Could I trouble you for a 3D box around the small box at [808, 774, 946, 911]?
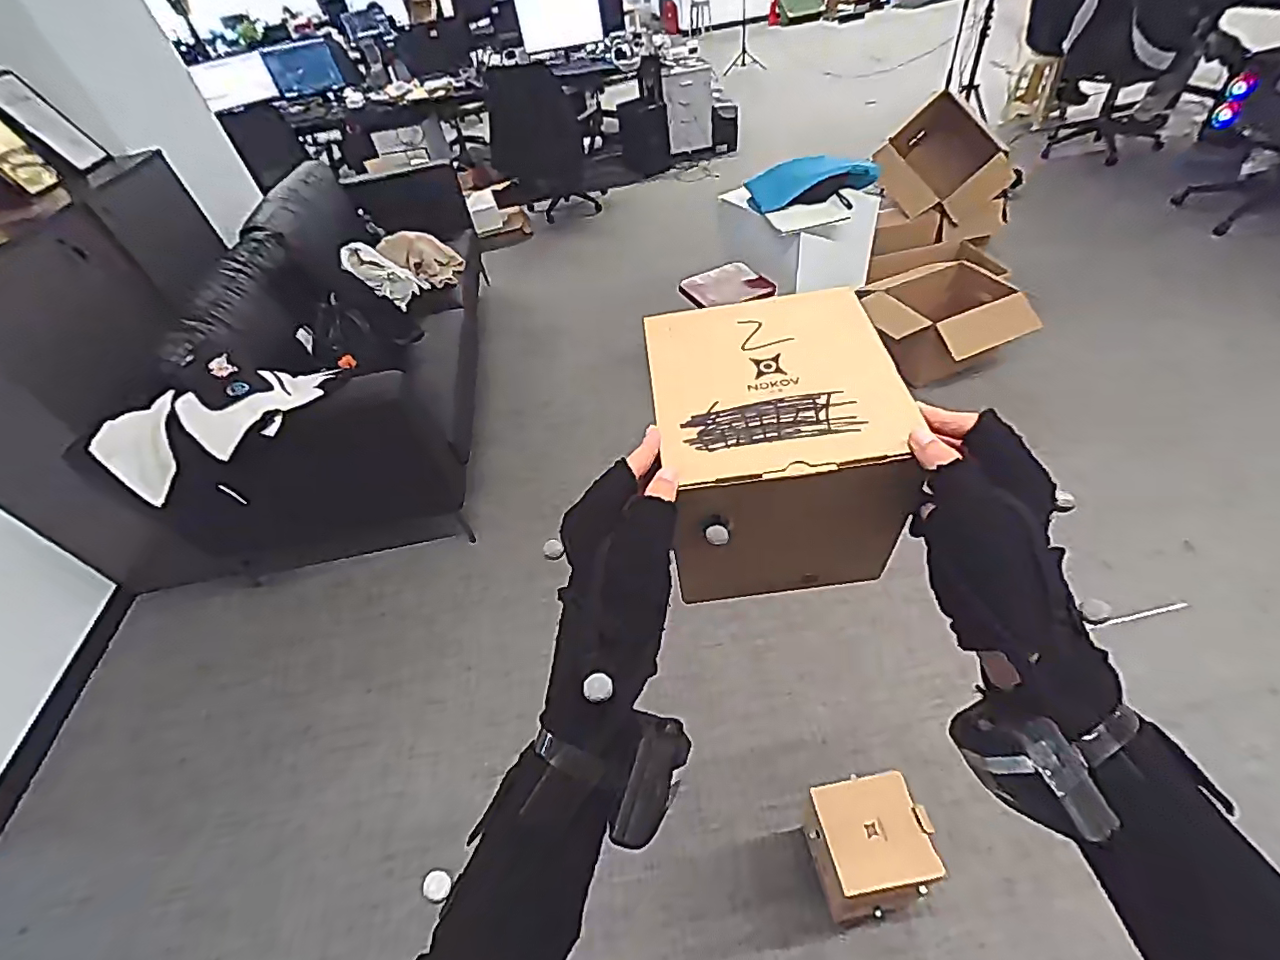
[{"bbox_3d":[0.422,0.674,1.002,0.179,0.176,0.168,-11,45,-1],"label":"small box"}]
